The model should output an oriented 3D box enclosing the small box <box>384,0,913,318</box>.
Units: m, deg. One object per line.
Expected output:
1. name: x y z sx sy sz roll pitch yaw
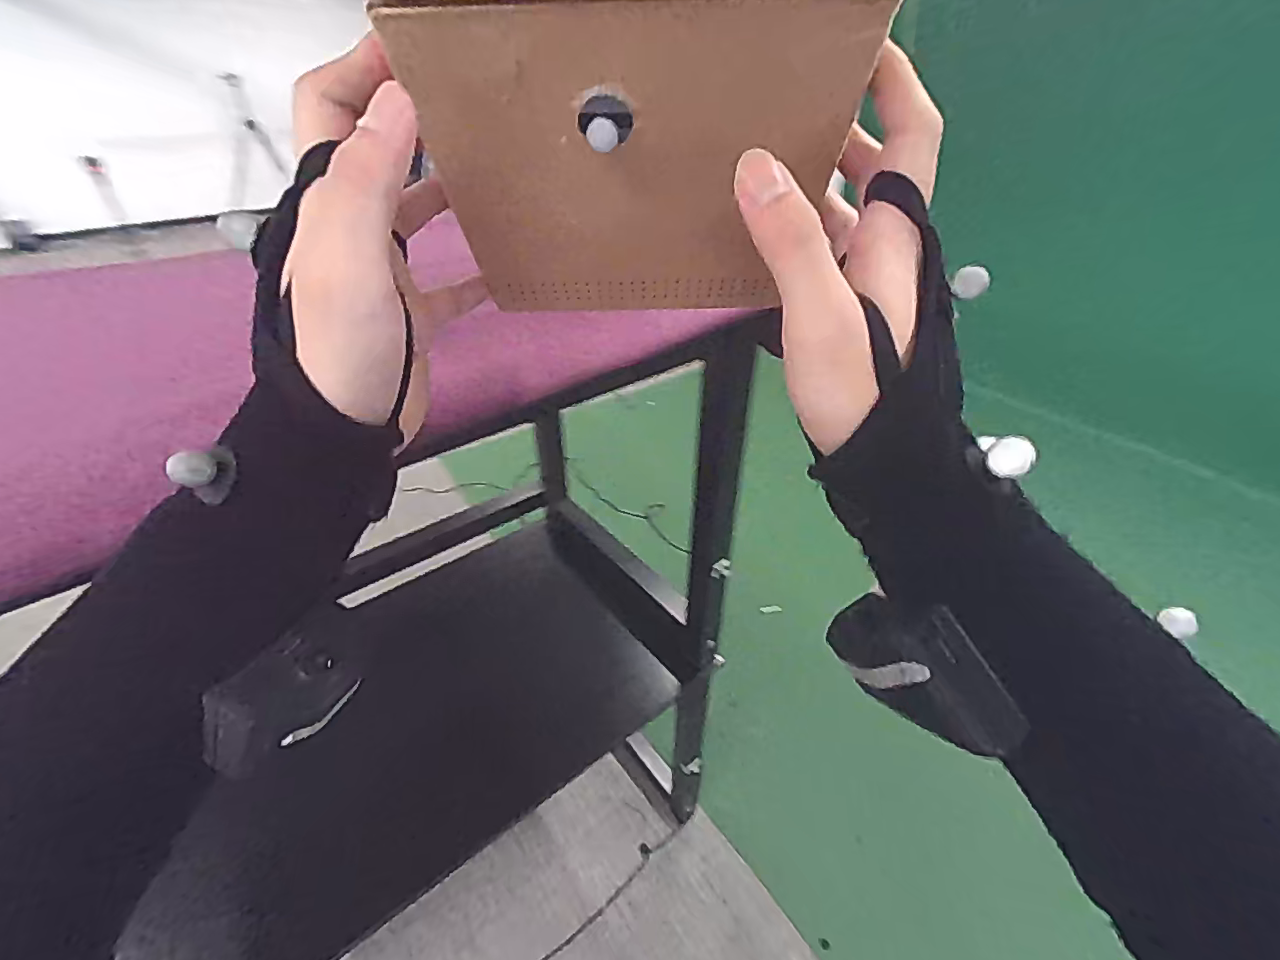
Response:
1. small box: 0.005 -0.199 0.275 0.179 0.176 0.168 1 73 1
